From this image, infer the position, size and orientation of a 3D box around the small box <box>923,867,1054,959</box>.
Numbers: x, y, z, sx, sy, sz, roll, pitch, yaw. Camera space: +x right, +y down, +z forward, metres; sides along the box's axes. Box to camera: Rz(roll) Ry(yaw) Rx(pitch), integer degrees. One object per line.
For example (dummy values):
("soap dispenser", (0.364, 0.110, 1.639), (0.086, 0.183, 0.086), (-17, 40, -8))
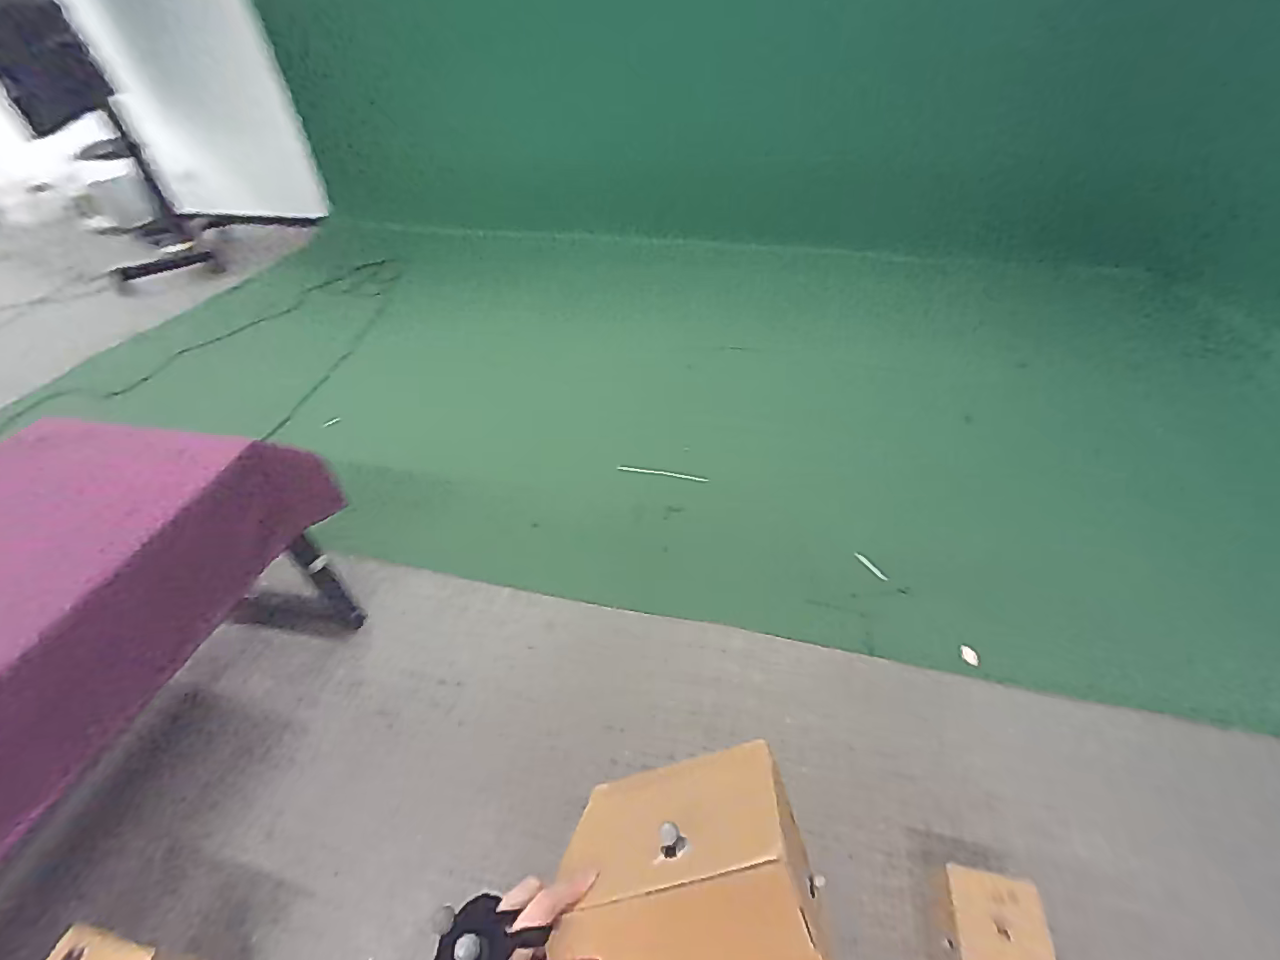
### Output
("small box", (0.677, 0.900, 1.061), (0.168, 0.176, 0.179), (8, 45, 11))

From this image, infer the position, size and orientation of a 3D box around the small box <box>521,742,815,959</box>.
("small box", (0.035, 0.345, 0.436), (0.179, 0.176, 0.168), (-21, 86, 7))
